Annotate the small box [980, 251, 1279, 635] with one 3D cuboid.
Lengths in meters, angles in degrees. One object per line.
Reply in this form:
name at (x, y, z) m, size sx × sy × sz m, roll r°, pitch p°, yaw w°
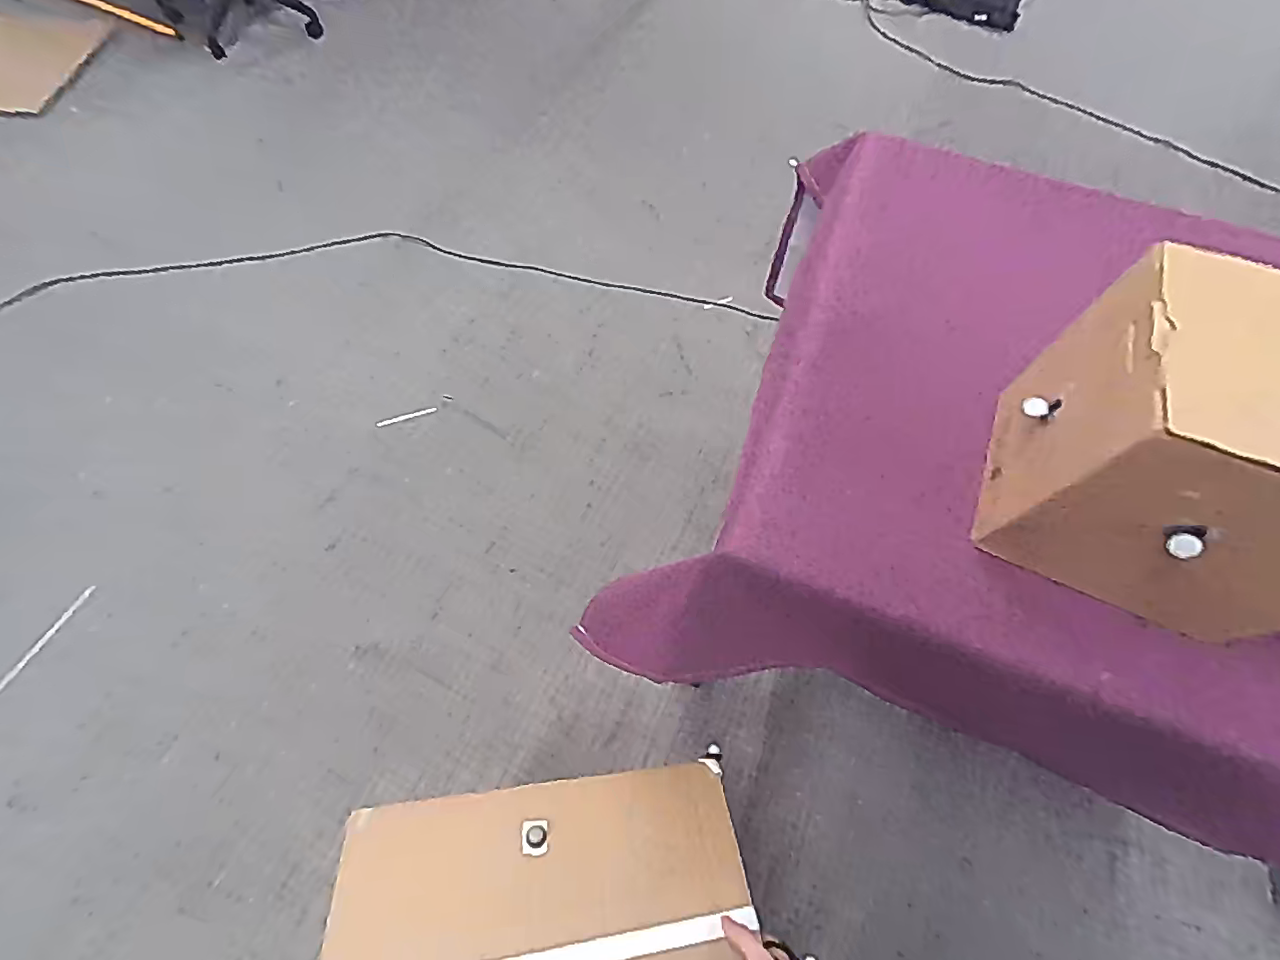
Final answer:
small box at (0.371, -0.014, 0.367) m, size 0.179 × 0.176 × 0.168 m, roll 23°, pitch 65°, yaw 11°
